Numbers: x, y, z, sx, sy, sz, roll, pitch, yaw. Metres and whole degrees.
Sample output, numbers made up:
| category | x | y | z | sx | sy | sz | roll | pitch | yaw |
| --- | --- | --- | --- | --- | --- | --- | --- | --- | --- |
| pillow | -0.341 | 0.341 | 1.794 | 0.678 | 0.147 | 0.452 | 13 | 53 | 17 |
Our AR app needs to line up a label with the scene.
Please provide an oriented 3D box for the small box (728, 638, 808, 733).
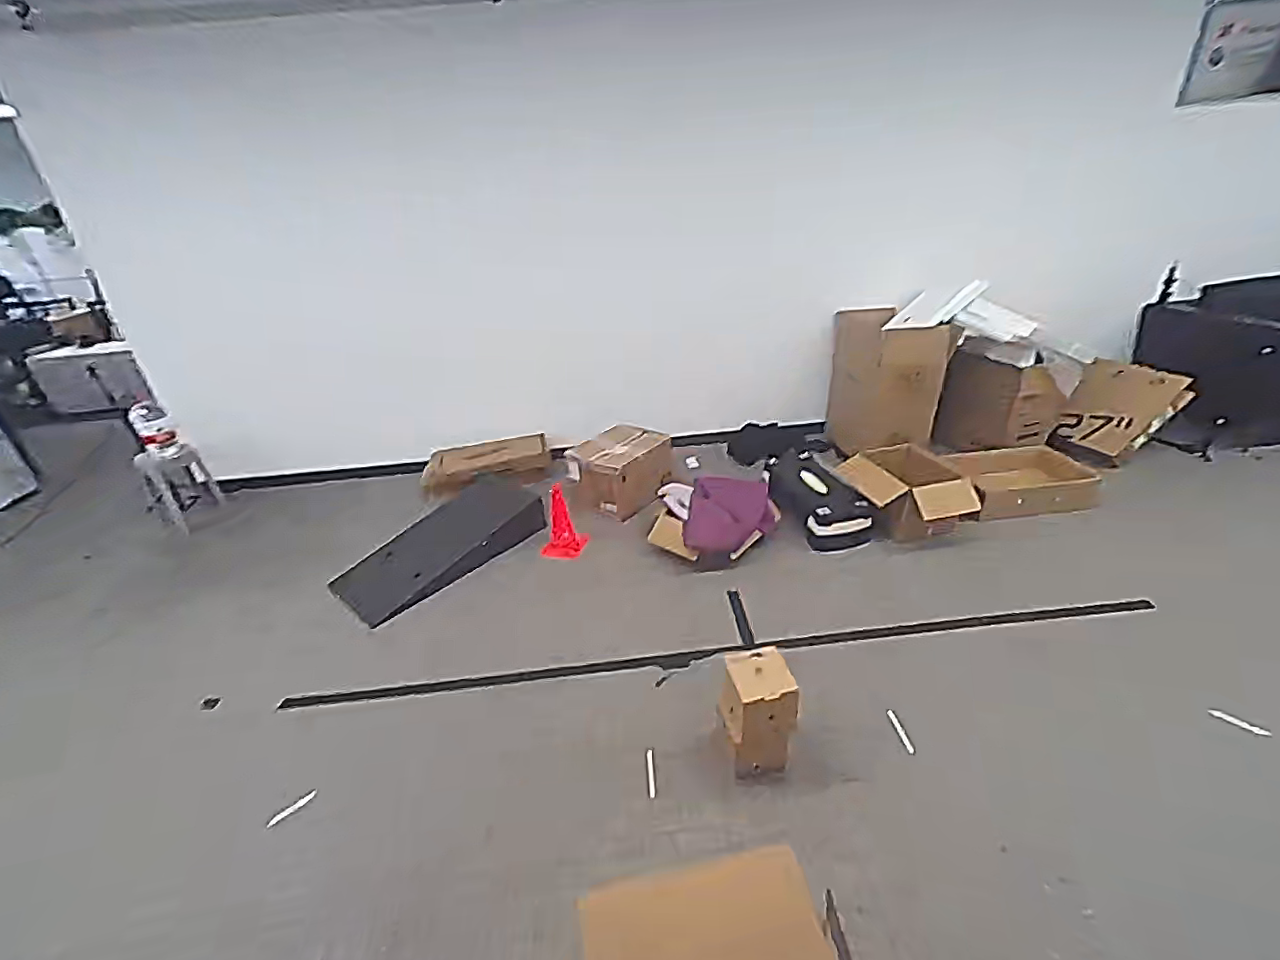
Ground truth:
| category | x | y | z | sx | sy | sz | roll | pitch | yaw |
| --- | --- | --- | --- | --- | --- | --- | --- | --- | --- |
| small box | 0.352 | 0.578 | 1.508 | 0.168 | 0.176 | 0.179 | -10 | 29 | -8 |

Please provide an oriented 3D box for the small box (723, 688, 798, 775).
| category | x | y | z | sx | sy | sz | roll | pitch | yaw |
| --- | --- | --- | --- | --- | --- | --- | --- | --- | --- |
| small box | 0.346 | 0.724 | 1.585 | 0.168 | 0.176 | 0.179 | -9 | 30 | -7 |
